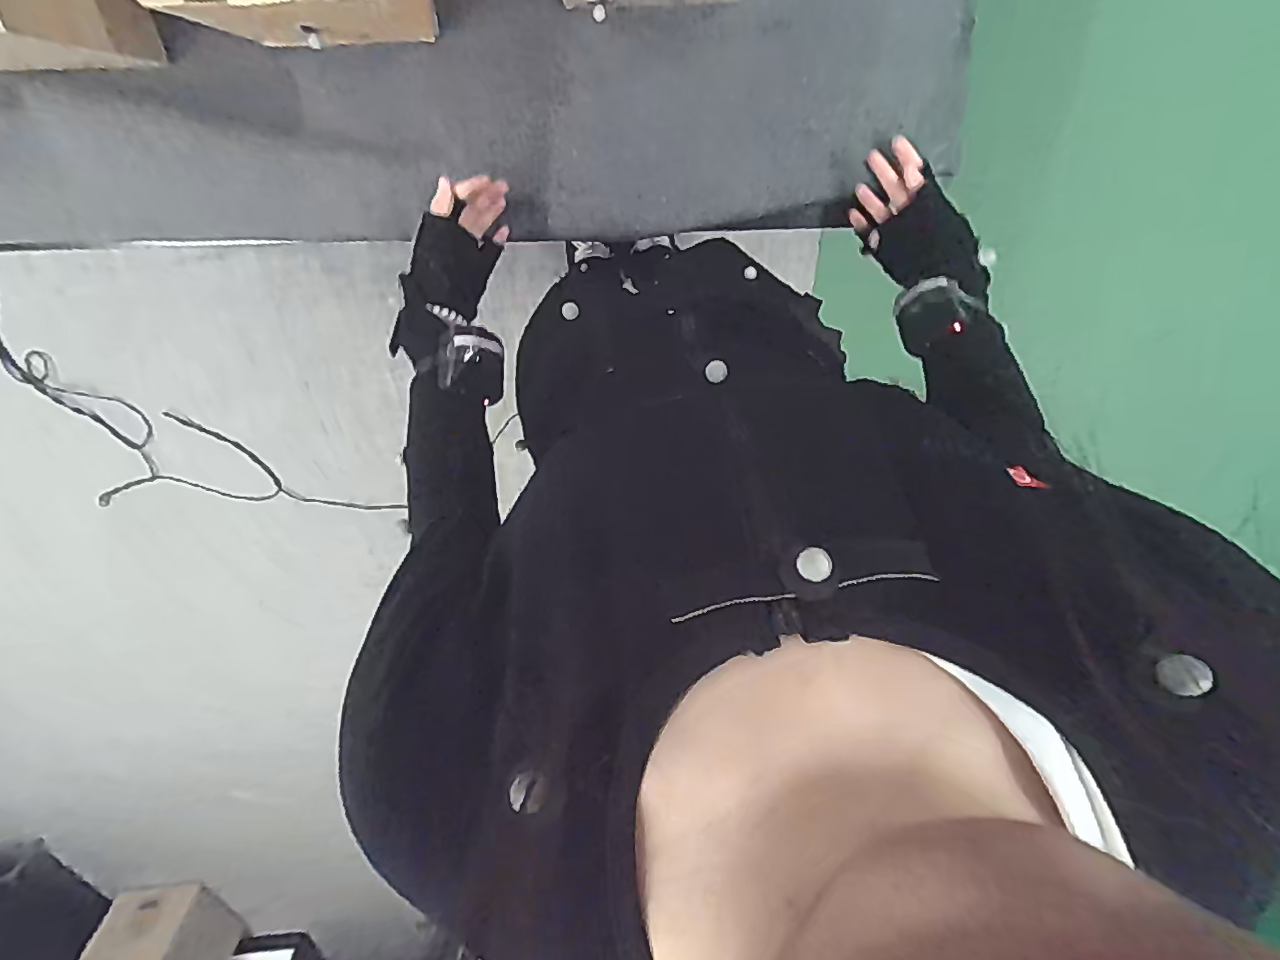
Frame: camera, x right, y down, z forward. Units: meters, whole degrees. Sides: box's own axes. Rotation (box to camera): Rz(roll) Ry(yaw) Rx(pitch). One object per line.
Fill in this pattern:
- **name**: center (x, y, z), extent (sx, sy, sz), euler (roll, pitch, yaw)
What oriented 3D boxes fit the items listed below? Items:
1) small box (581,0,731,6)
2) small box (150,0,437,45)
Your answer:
- **small box**: center (0.015, -0.476, 0.397), extent (0.168, 0.176, 0.179), euler (-4, 121, -2)
- **small box**: center (-0.266, -0.445, 0.397), extent (0.168, 0.176, 0.179), euler (-4, 123, -3)
